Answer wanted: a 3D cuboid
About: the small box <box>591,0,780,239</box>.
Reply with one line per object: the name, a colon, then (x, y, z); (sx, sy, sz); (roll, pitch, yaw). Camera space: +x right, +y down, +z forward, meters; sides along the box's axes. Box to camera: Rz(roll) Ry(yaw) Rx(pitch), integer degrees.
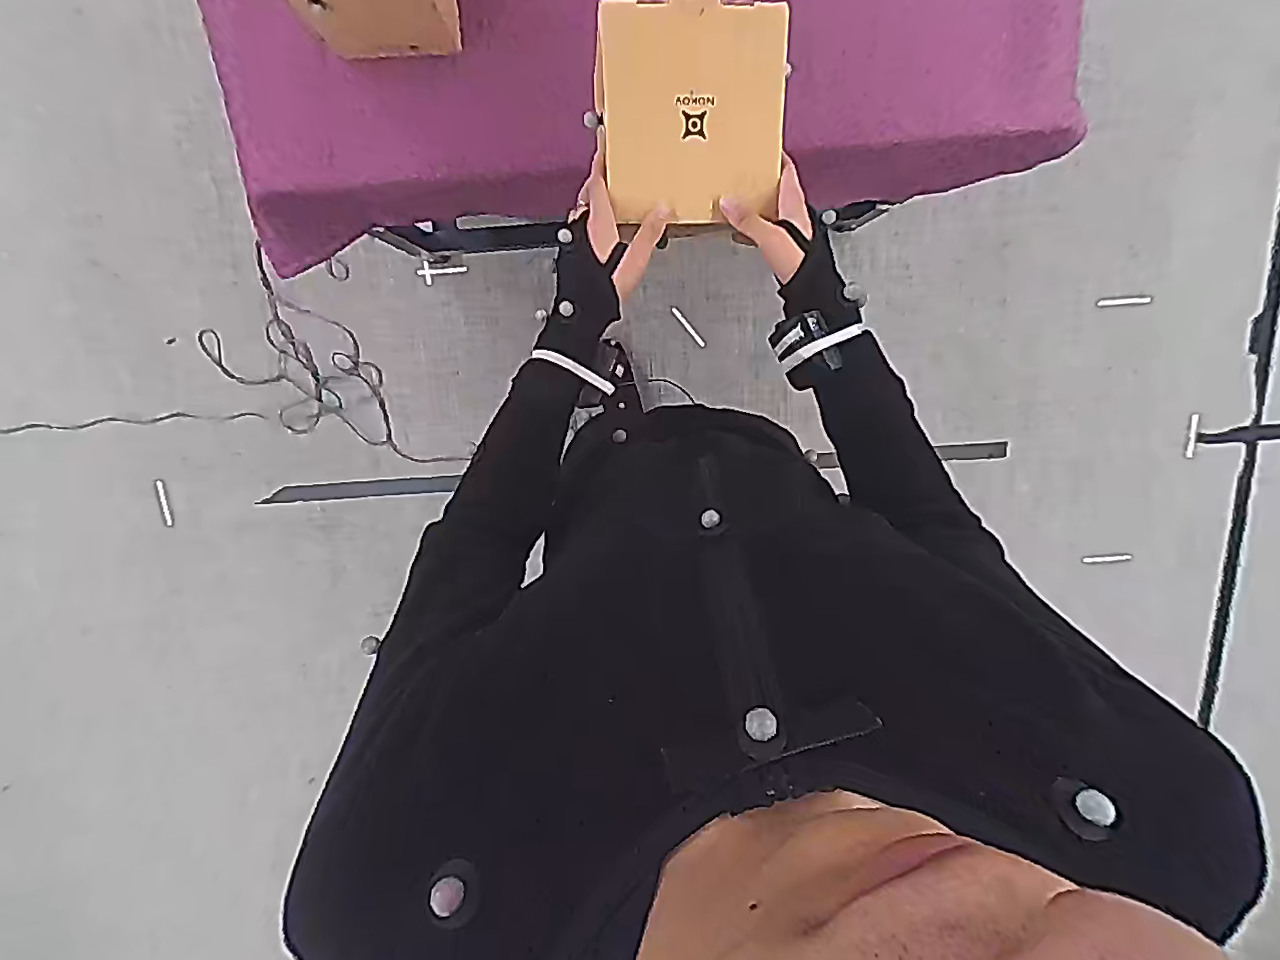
small box: (0.036, -0.354, 0.566); (0.168, 0.176, 0.179); (-3, 107, -5)
